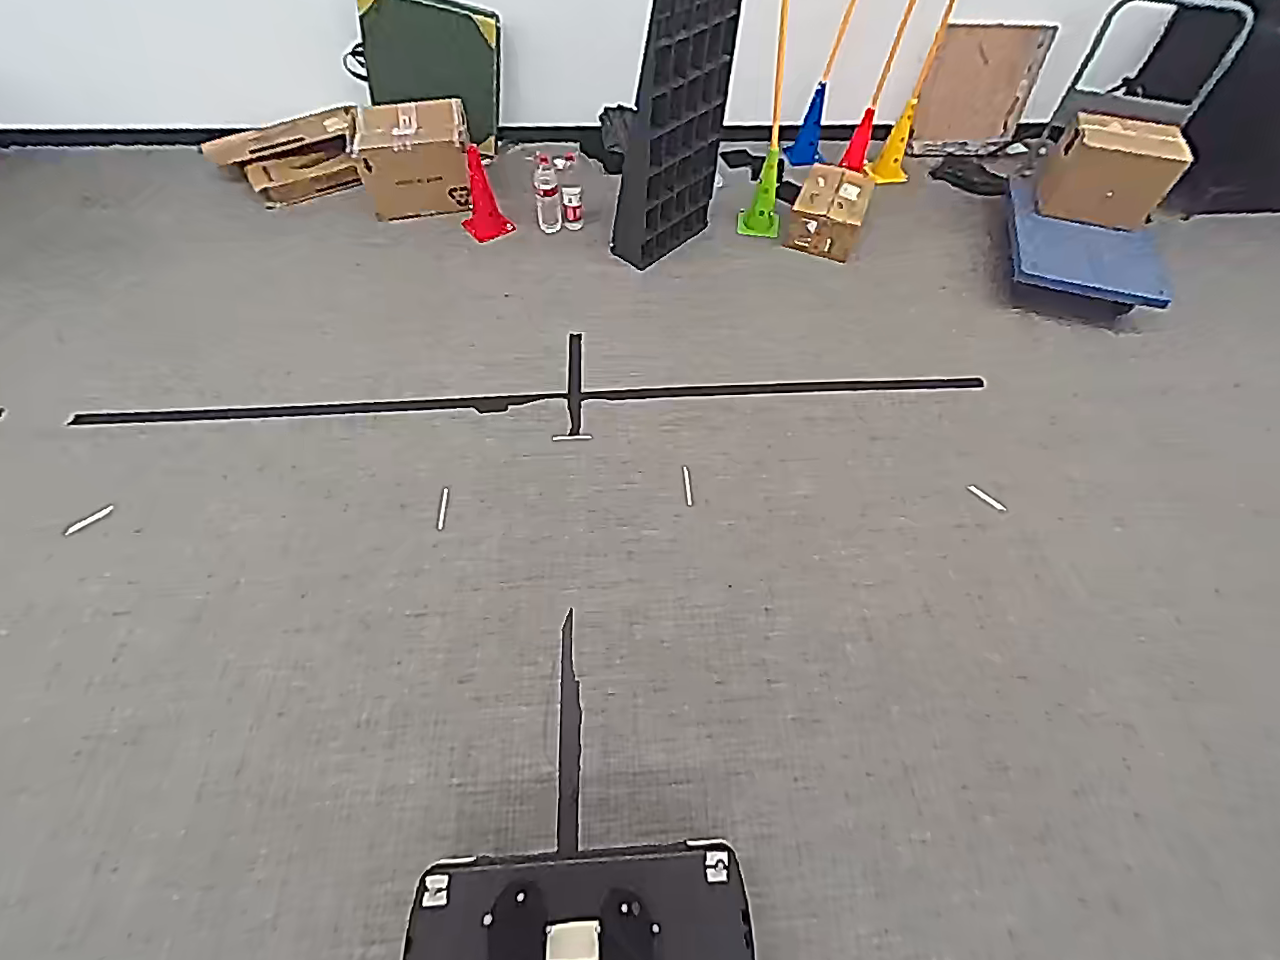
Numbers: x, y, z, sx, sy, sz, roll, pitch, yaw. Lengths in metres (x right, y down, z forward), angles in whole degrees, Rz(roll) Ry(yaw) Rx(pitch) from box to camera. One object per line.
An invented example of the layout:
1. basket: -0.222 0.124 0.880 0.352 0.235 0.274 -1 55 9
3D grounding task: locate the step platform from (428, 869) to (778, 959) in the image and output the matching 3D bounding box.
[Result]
1. step platform: -0.070 0.960 1.082 0.684 0.204 0.286 2 55 -1
